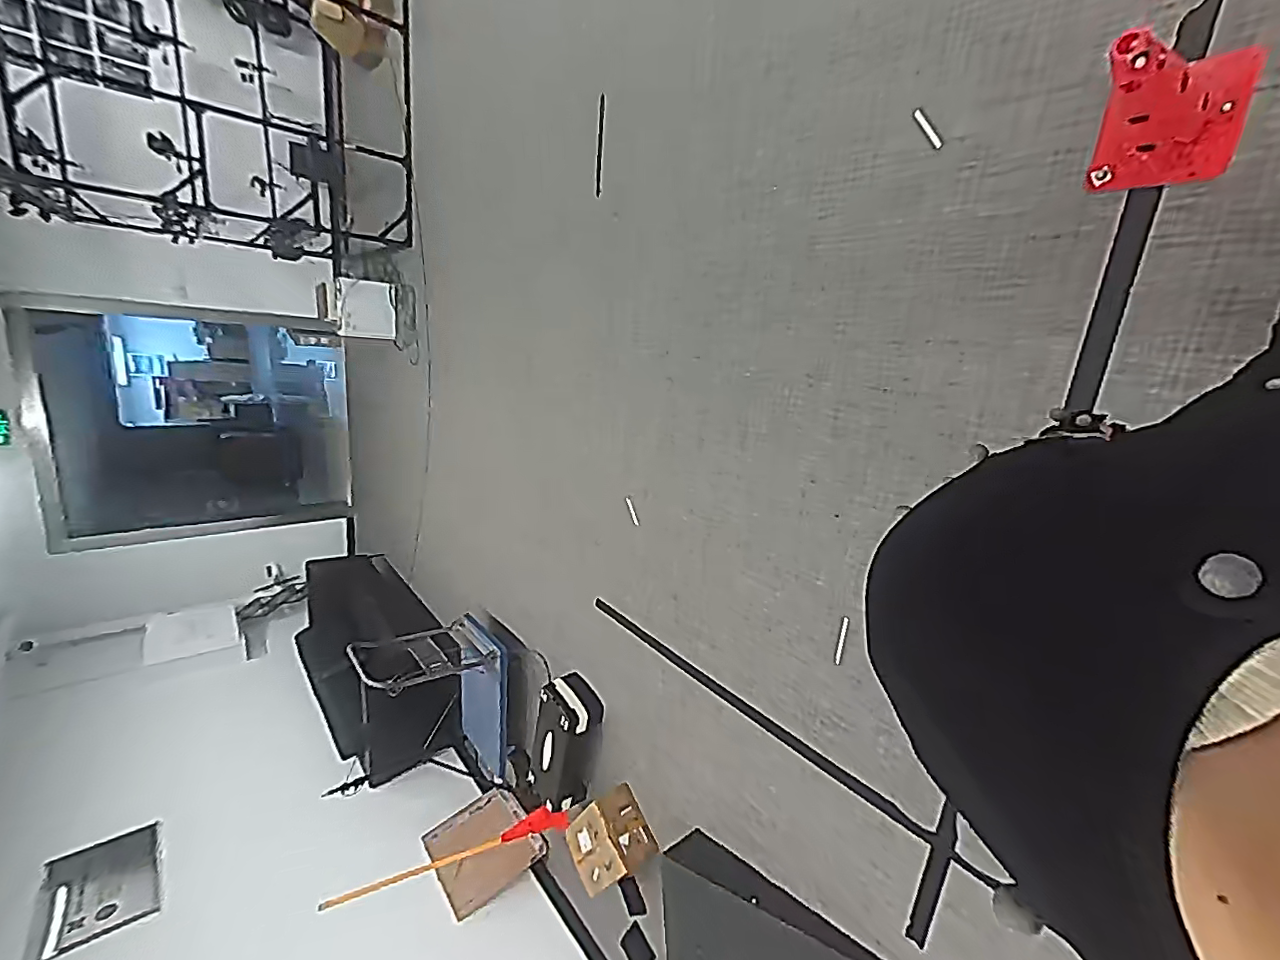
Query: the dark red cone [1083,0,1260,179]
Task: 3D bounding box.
[{"bbox_3d":[0.804,-0.636,0.850,0.201,0.394,0.202,20,110,46],"label":"dark red cone"}]
